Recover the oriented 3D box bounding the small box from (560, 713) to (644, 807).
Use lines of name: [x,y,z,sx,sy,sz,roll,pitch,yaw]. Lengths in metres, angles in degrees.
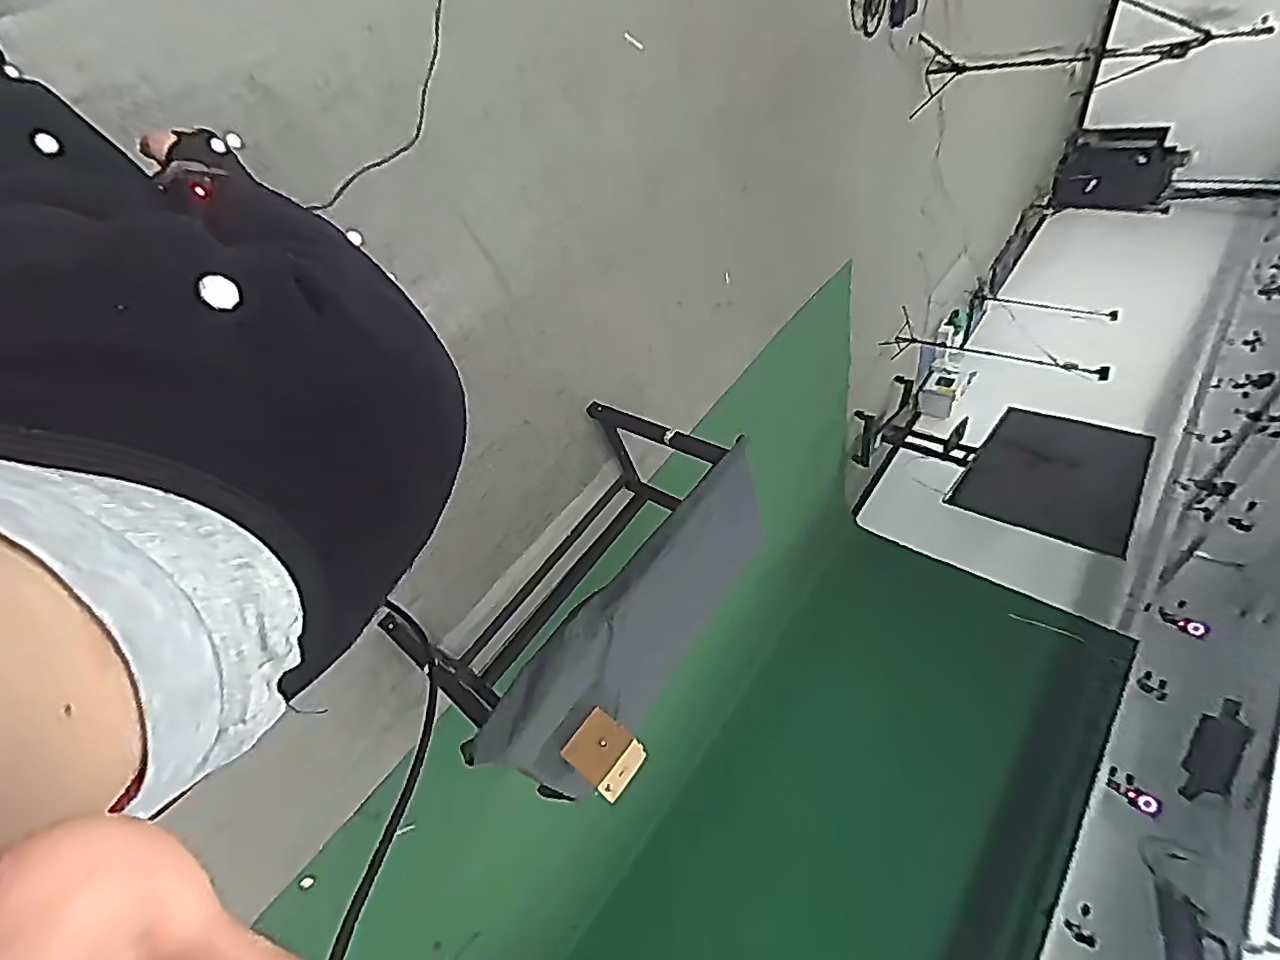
small box: [-0.119,0.867,1.685,0.179,0.176,0.168,-47,140,-27]
